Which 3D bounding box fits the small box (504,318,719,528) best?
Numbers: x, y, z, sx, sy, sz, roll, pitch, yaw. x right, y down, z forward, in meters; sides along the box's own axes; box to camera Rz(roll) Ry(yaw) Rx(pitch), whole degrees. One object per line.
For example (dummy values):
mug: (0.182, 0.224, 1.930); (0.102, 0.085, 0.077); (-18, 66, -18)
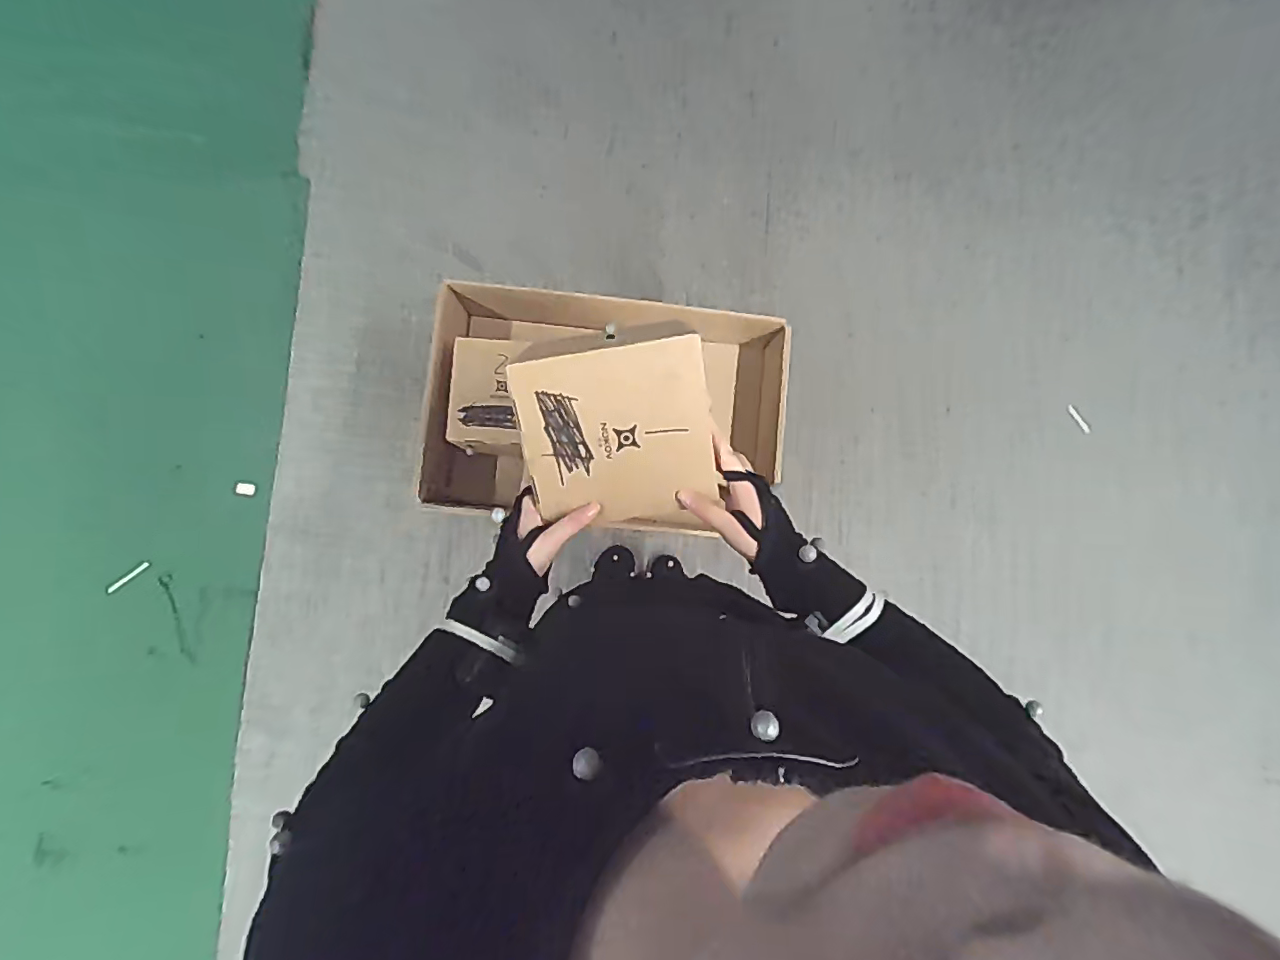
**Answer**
small box: (-0.023, -0.069, 0.567); (0.179, 0.176, 0.168); (-10, 111, 2)
